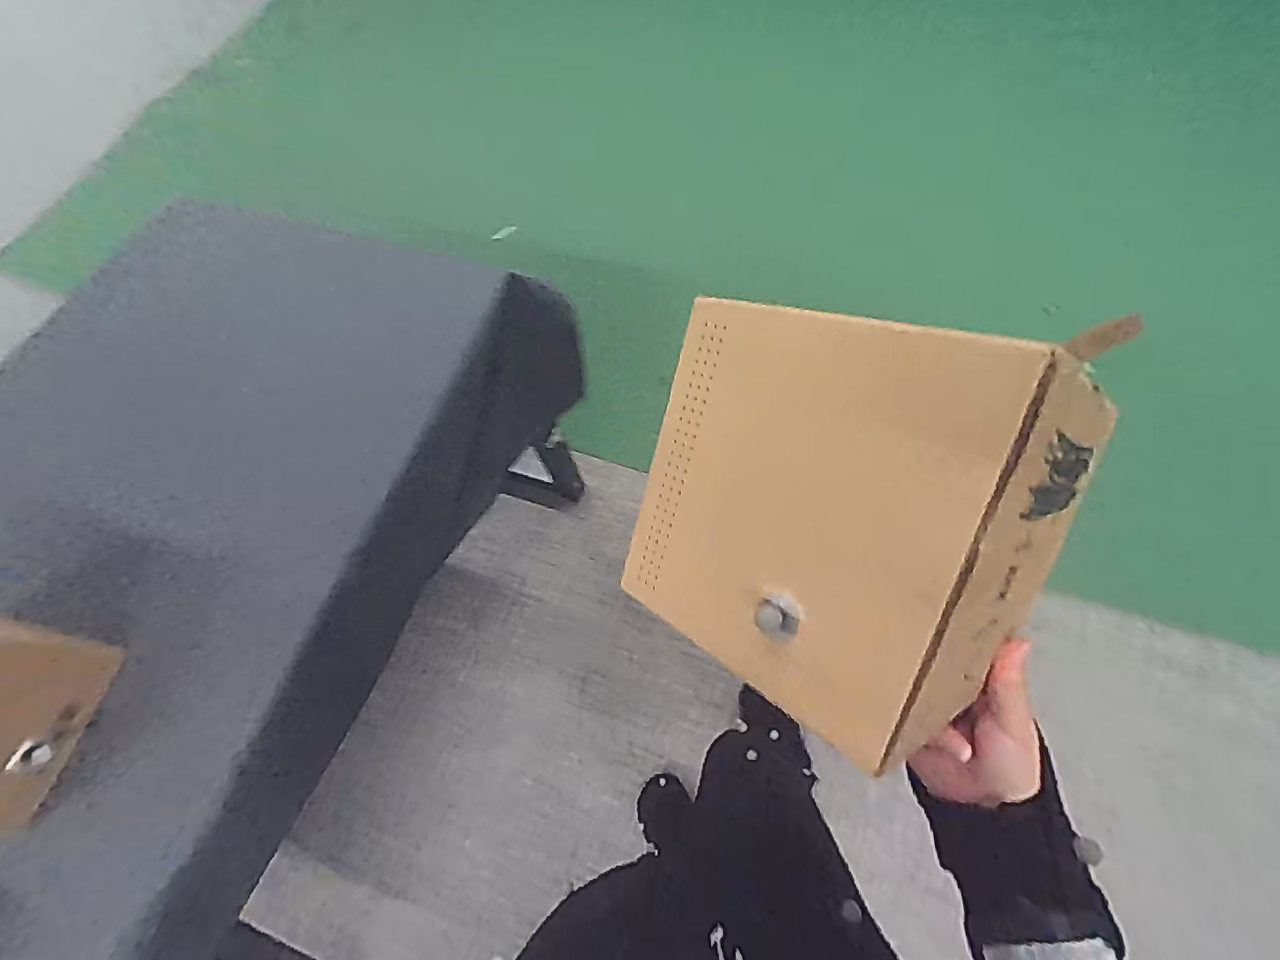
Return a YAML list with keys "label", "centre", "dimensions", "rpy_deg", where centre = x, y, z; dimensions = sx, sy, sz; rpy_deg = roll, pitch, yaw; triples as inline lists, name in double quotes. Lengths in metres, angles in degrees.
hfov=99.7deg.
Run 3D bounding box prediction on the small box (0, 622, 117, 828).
- label: "small box"
  centre: [-0.639, 0.206, 0.467]
  dimensions: [0.179, 0.176, 0.168]
  rpy_deg: [9, 68, 8]
